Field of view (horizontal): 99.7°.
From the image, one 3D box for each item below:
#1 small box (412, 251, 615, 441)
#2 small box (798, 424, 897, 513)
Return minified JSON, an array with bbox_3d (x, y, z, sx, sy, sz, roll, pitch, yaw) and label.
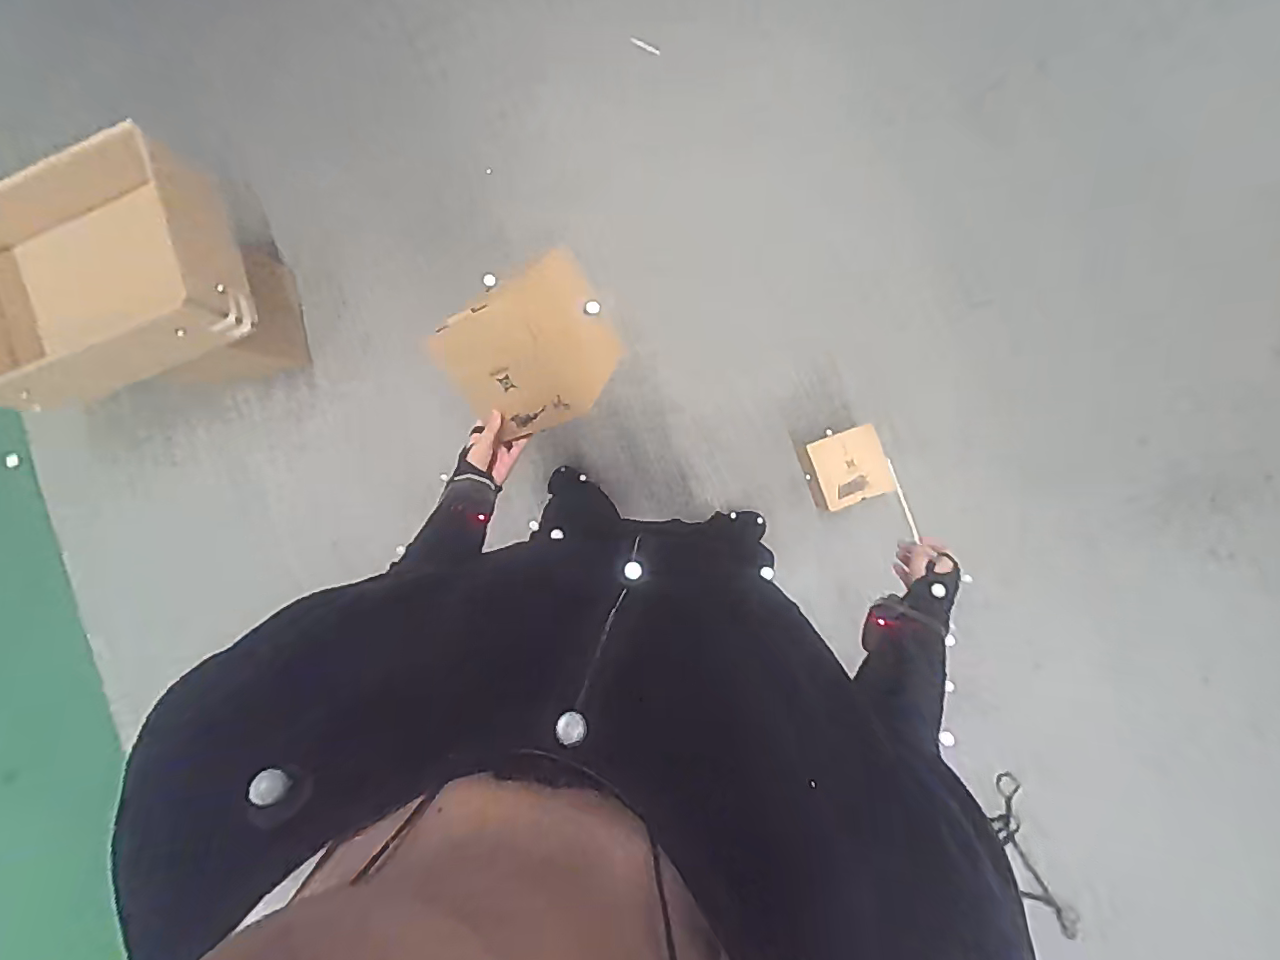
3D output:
[{"bbox_3d":[-0.160,-0.187,0.738,0.168,0.176,0.179,-14,126,31],"label":"small box"},{"bbox_3d":[0.514,-0.029,1.363,0.168,0.176,0.179,-20,88,6],"label":"small box"}]
